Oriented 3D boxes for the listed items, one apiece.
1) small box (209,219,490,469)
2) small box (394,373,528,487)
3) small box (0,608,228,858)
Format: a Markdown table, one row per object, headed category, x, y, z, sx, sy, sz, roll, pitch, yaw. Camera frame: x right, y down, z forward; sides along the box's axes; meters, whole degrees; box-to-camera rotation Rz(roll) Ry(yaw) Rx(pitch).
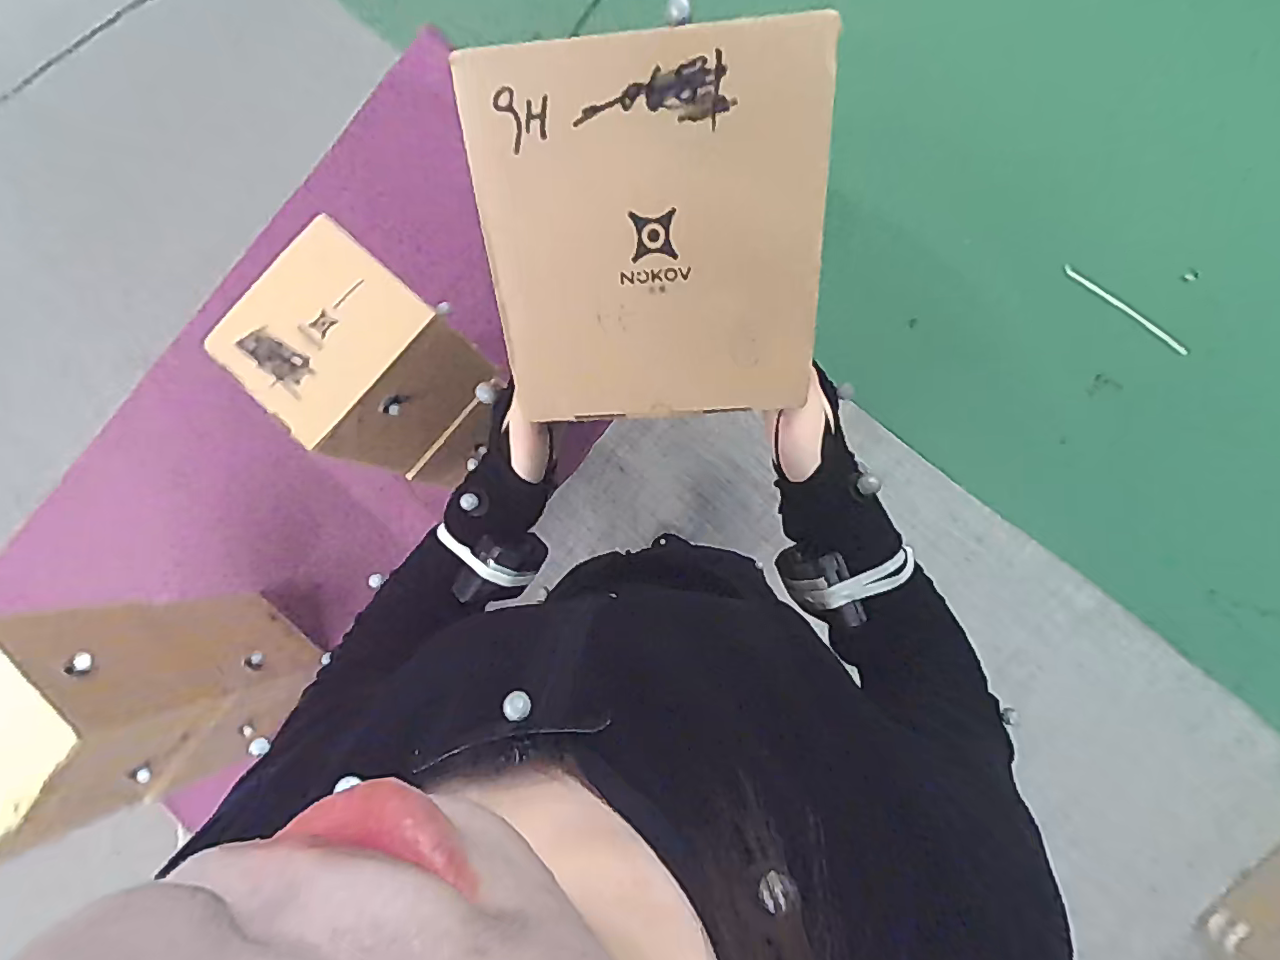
| category | x | y | z | sx | sy | sz | roll | pitch | yaw |
| --- | --- | --- | --- | --- | --- | --- | --- | --- | --- |
| small box | -0.298 | -0.131 | 0.595 | 0.168 | 0.176 | 0.179 | 41 | 88 | 8 |
| small box | -0.286 | -0.104 | 0.757 | 0.179 | 0.176 | 0.168 | 41 | 88 | 8 |
| small box | -0.613 | 0.255 | 0.580 | 0.179 | 0.176 | 0.168 | 38 | 88 | 8 |
